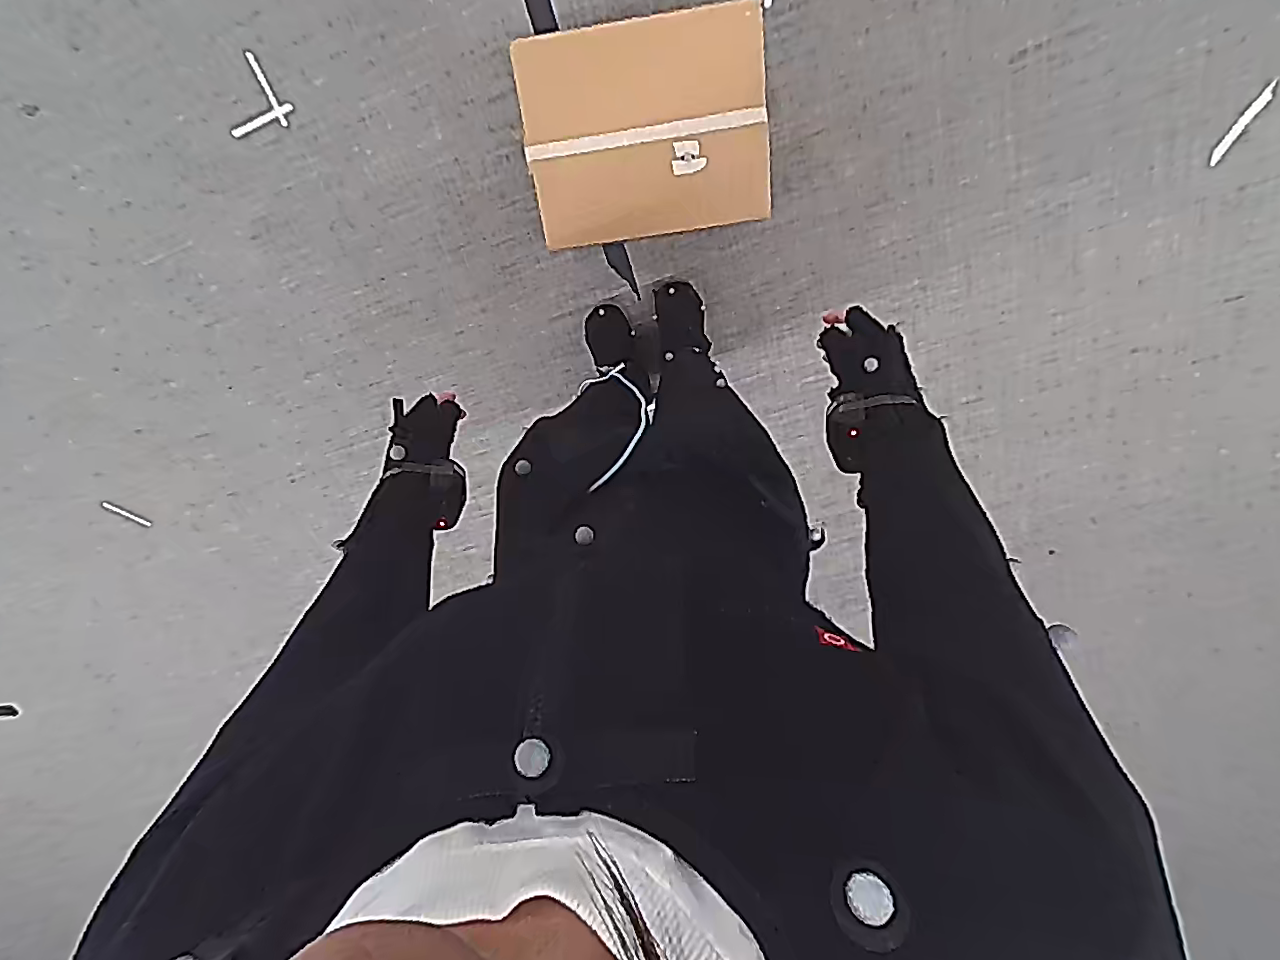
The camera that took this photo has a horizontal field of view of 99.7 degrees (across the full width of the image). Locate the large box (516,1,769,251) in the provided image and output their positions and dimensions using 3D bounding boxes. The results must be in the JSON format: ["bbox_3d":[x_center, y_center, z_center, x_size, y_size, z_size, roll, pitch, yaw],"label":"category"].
[{"bbox_3d":[0.016,-0.647,1.058,0.408,0.320,0.320,-7,114,5],"label":"large box"}]
